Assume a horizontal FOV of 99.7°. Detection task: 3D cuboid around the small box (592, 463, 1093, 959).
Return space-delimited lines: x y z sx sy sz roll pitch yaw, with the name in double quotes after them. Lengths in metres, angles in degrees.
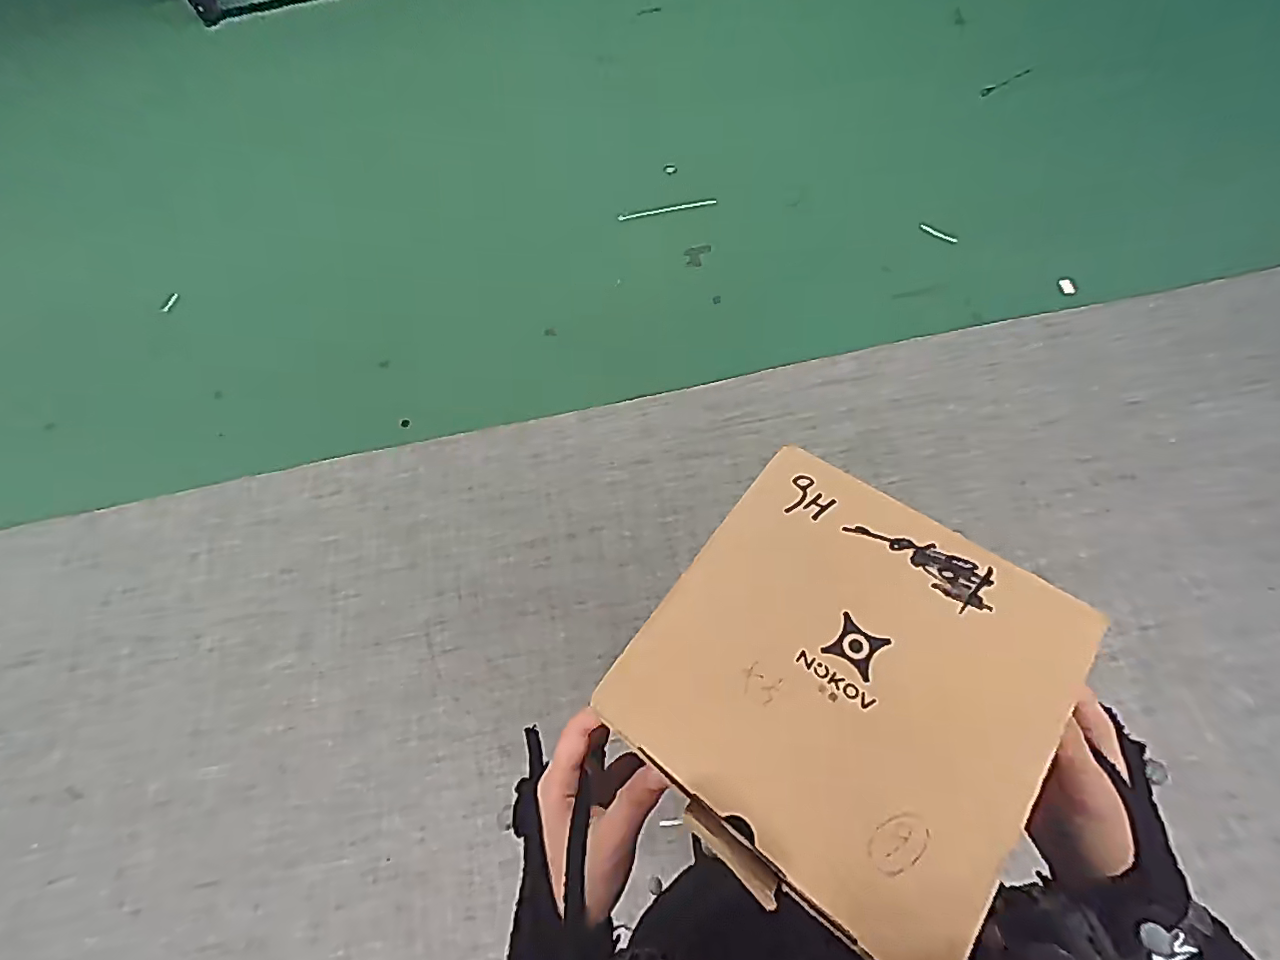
0.101 0.130 0.318 0.168 0.176 0.179 33 69 22 "small box"
